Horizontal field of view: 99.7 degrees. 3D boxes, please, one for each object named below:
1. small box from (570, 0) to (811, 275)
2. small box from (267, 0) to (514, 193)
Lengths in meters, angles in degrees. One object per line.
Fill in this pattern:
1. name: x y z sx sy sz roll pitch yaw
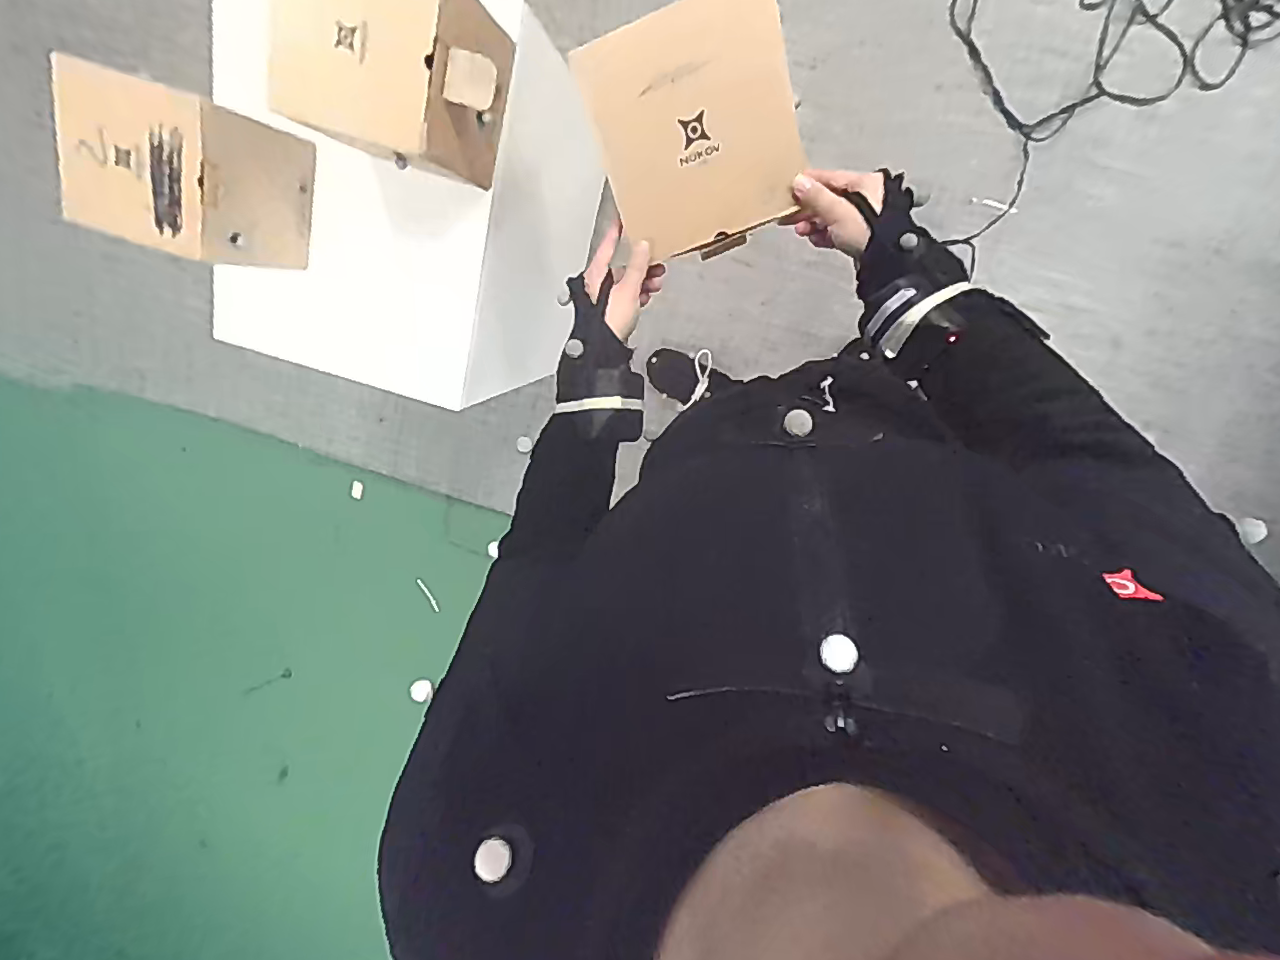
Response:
1. small box: 0.051 -0.324 0.521 0.168 0.176 0.179 -17 118 11
2. small box: -0.264 -0.439 0.597 0.179 0.176 0.168 18 109 4
